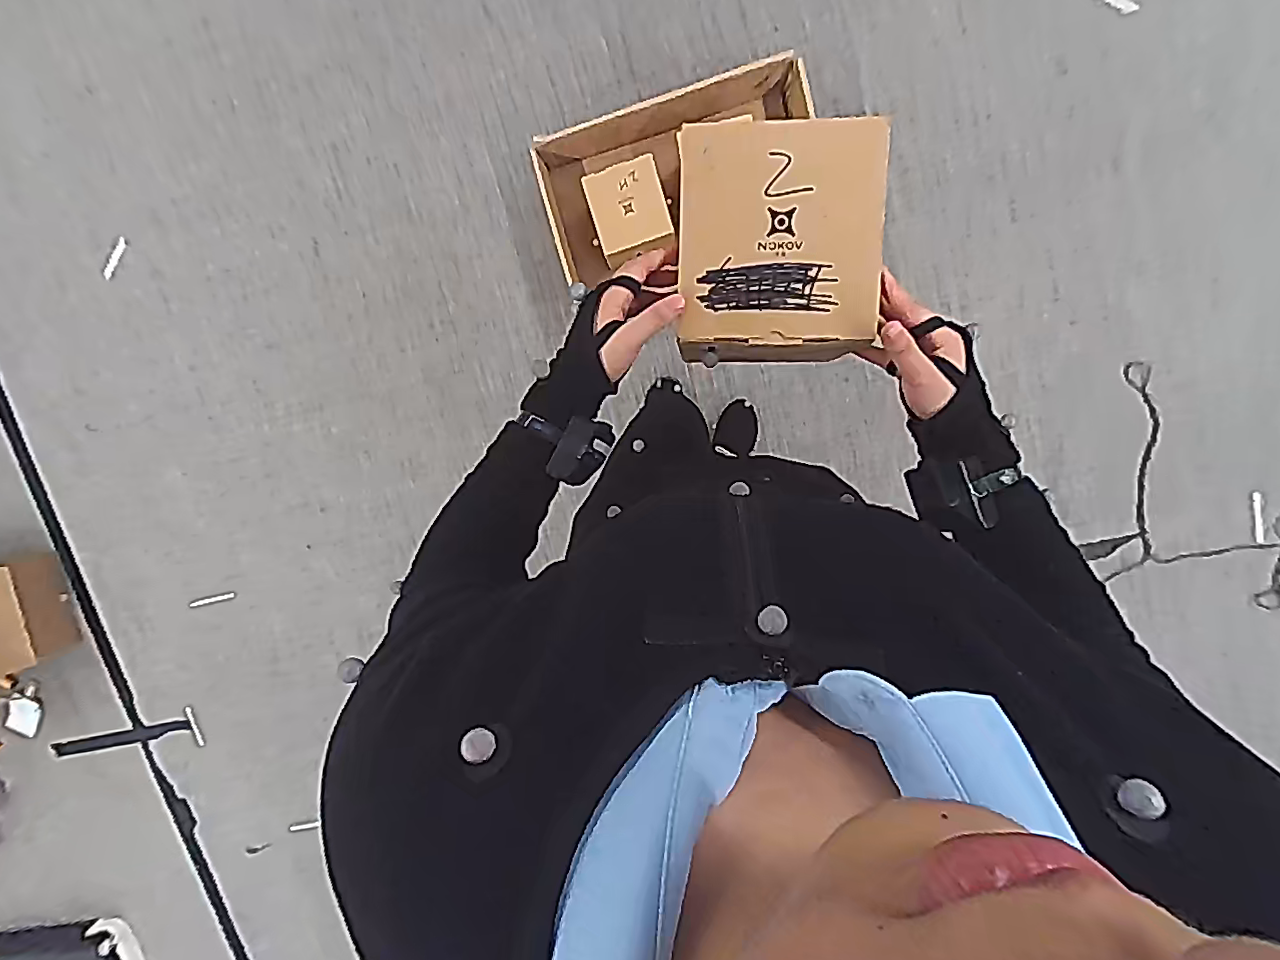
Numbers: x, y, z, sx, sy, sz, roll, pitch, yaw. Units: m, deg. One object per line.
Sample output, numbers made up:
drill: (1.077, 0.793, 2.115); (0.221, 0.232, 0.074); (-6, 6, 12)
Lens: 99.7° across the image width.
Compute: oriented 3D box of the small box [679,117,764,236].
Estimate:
small box: (0.183, -0.689, 1.247); (0.168, 0.176, 0.179); (-9, 99, 6)

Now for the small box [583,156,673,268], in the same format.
small box: (-0.021, -0.615, 1.272); (0.168, 0.176, 0.179); (-17, 98, 5)
